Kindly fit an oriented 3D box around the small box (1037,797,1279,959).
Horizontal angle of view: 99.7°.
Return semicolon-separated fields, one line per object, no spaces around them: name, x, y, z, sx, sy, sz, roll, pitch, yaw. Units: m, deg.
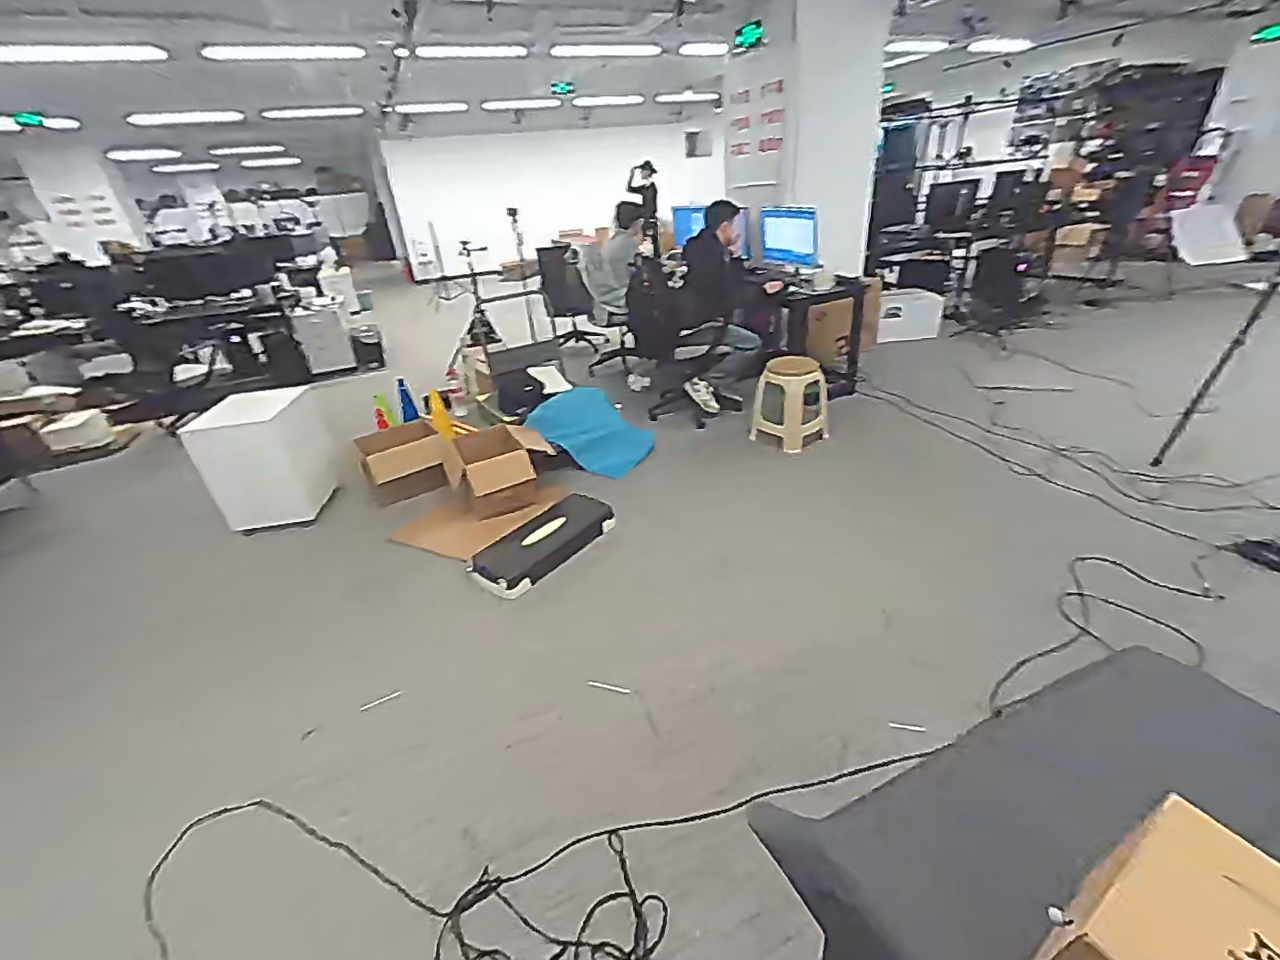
small box;0.440;0.403;0.415;0.179;0.176;0.168;-23;40;-28
